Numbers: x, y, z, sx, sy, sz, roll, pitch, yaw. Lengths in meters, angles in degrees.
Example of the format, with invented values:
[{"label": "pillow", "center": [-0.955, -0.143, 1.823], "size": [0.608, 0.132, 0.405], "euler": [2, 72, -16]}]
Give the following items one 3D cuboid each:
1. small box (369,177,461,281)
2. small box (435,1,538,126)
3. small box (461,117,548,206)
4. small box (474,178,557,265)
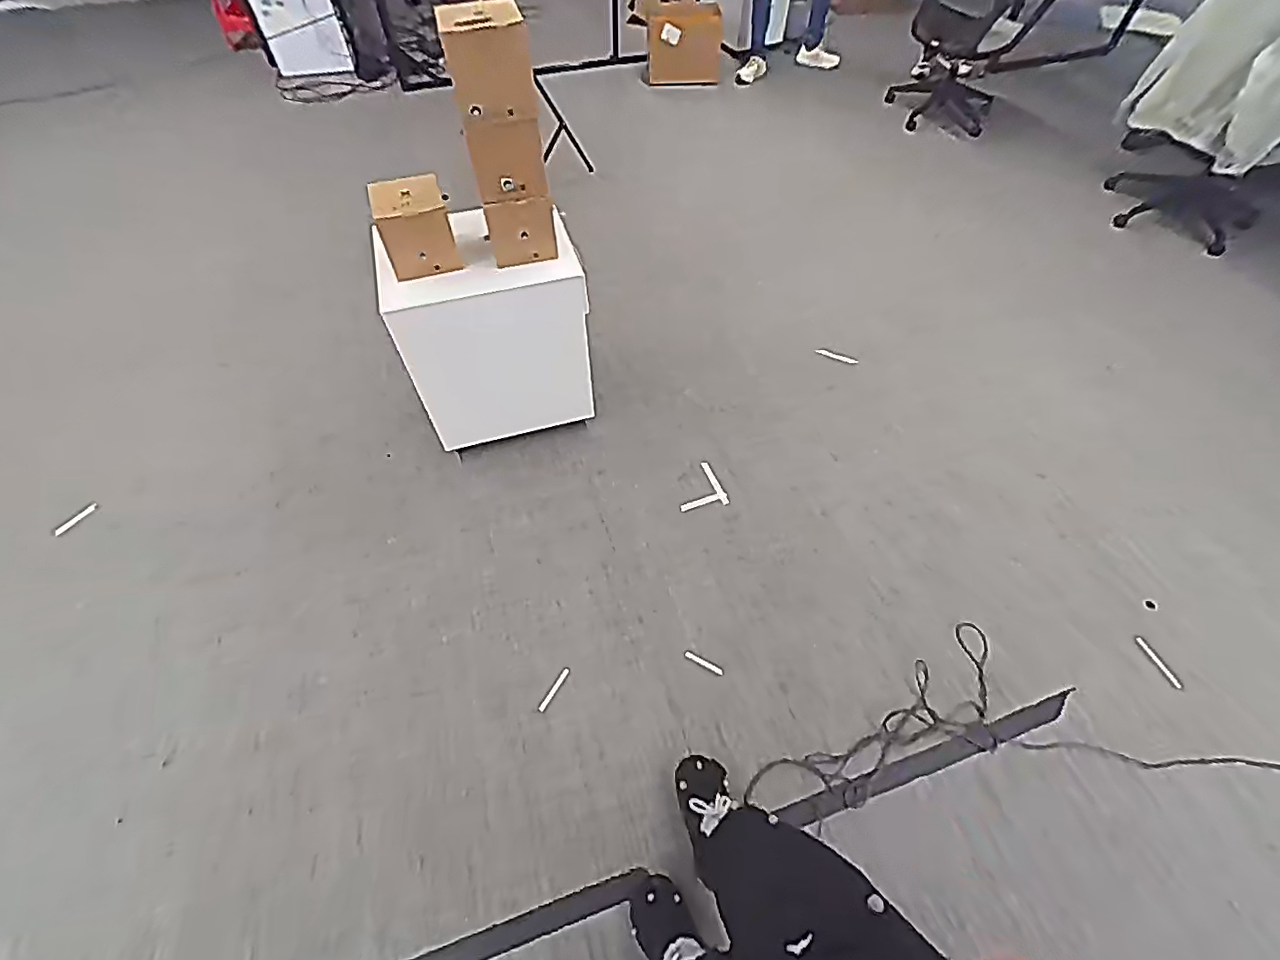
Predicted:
[{"label": "small box", "center": [-0.569, -0.637, 1.376], "size": [0.168, 0.176, 0.179], "euler": [-17, 58, -12]}, {"label": "small box", "center": [-0.322, -0.875, 1.146], "size": [0.168, 0.176, 0.179], "euler": [-14, 55, -8]}, {"label": "small box", "center": [-0.323, -0.783, 1.282], "size": [0.168, 0.176, 0.179], "euler": [-15, 57, -8]}, {"label": "small box", "center": [-0.320, -0.683, 1.412], "size": [0.168, 0.176, 0.179], "euler": [-15, 58, -9]}]
